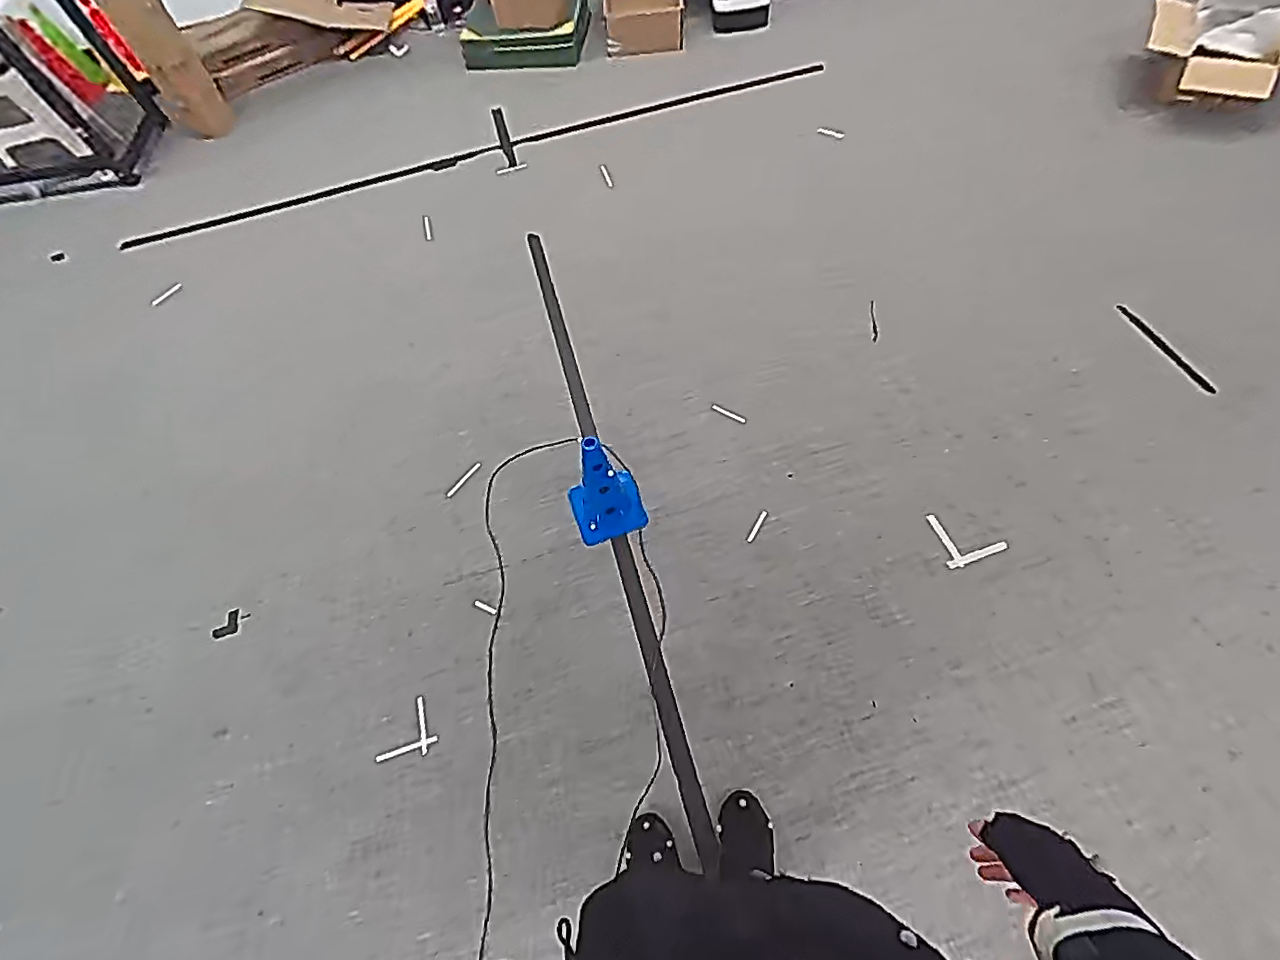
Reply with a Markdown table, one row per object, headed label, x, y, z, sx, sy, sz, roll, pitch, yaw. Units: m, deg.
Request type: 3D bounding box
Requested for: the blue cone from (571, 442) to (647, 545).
| label | x | y | z | sx | sy | sz | roll | pitch | yaw |
| --- | --- | --- | --- | --- | --- | --- | --- | --- | --- |
| blue cone | -0.099 | 0.006 | 1.433 | 0.192 | 0.380 | 0.193 | -21 | 63 | -7 |
